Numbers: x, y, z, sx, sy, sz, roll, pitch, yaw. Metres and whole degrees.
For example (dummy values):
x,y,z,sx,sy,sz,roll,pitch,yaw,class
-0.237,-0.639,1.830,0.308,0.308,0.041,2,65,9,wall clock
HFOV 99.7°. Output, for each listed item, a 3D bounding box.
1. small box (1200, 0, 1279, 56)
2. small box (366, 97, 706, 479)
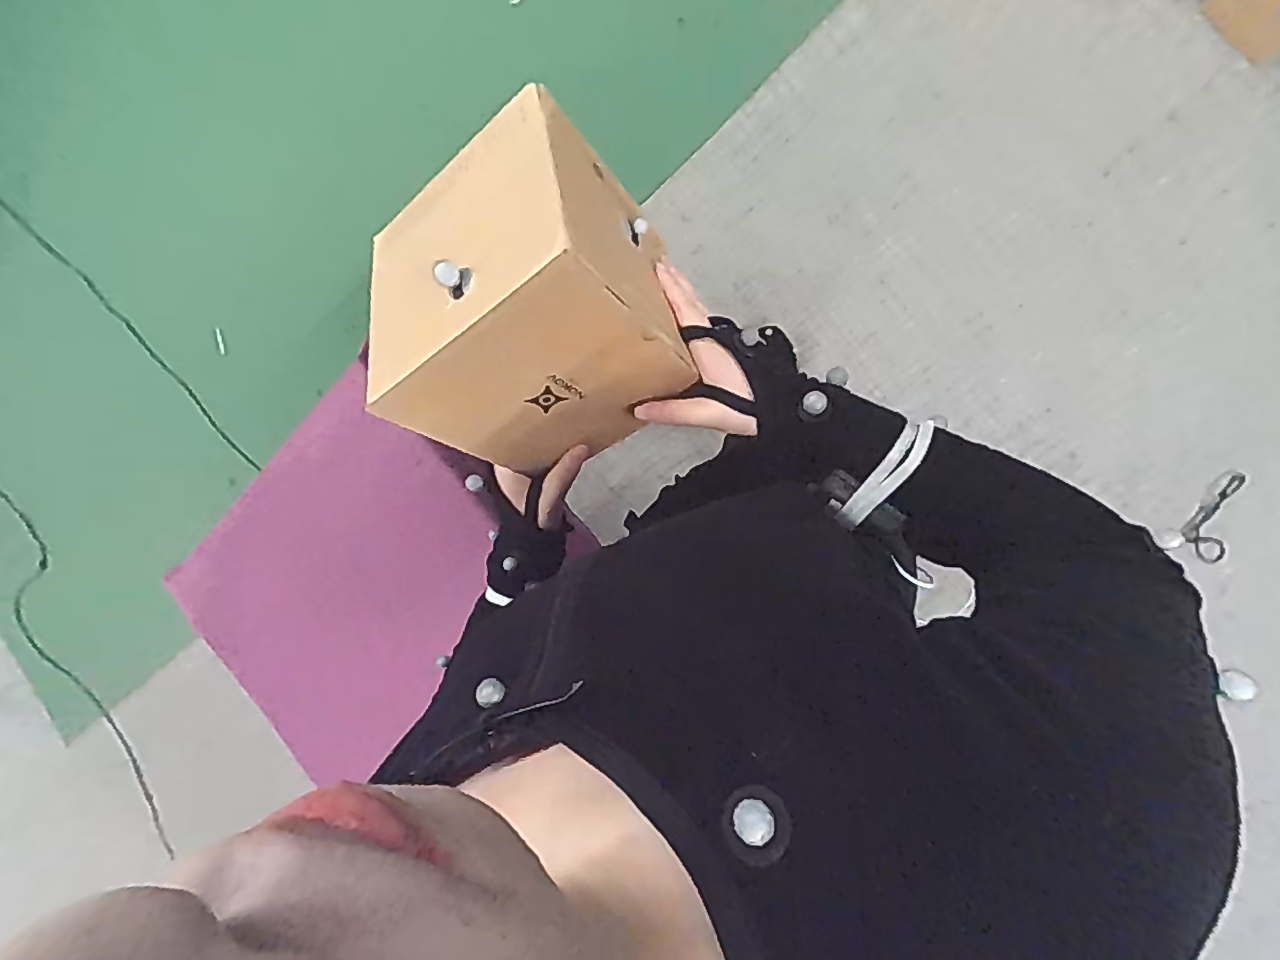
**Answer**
x,y,z,sx,sy,sz,roll,pitch,yaw,class
1.238,-0.949,1.008,0.168,0.176,0.179,-40,86,14,small box
-0.076,-0.130,0.412,0.179,0.168,0.176,-26,59,24,small box
